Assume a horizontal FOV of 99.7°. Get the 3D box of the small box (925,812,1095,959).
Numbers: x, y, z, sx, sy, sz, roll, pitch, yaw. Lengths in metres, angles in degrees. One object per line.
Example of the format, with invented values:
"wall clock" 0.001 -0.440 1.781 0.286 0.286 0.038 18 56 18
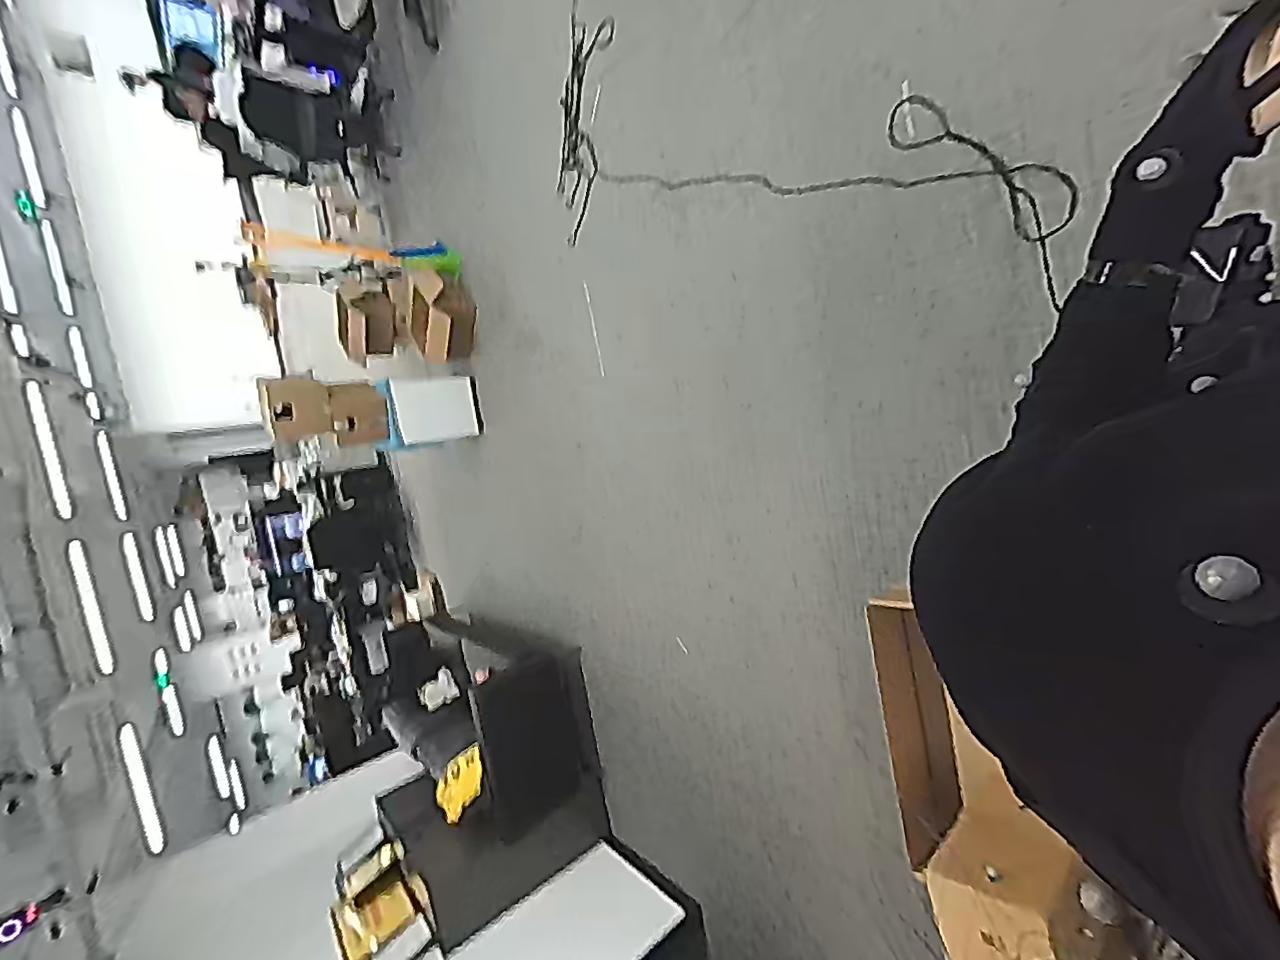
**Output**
"small box" 0.615 0.694 0.901 0.179 0.176 0.168 -14 89 51
